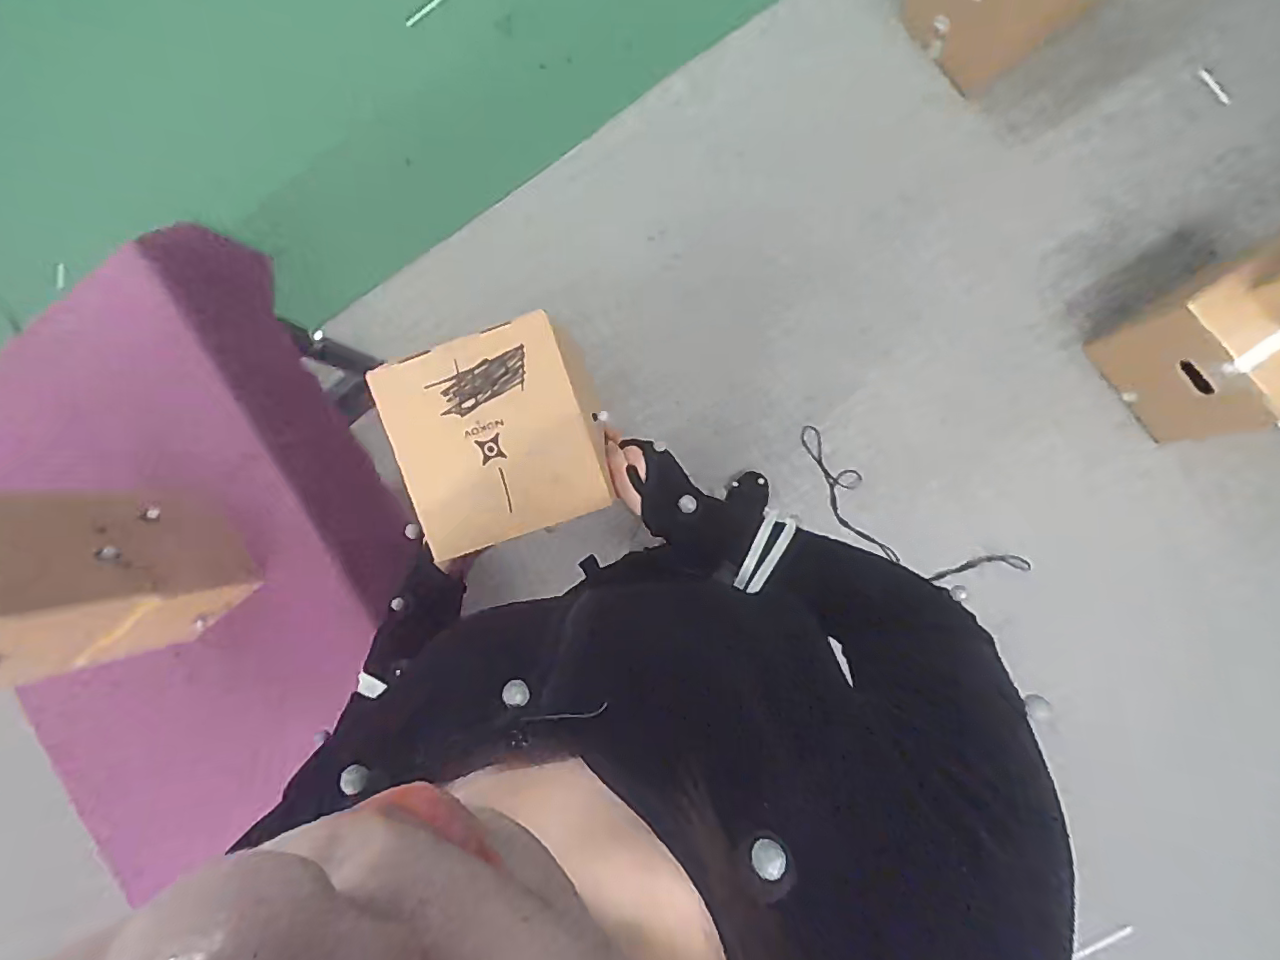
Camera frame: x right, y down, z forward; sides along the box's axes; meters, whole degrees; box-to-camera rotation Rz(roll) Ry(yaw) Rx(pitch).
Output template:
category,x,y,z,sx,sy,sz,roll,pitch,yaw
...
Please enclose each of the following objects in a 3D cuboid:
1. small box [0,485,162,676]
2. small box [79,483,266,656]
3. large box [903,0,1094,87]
category,x,y,z,sx,sy,sz,roll,pitch,yaw
small box,-0.736,0.121,0.636,0.179,0.176,0.168,-37,85,5
small box,-0.713,0.123,0.798,0.168,0.176,0.179,-36,84,6
large box,0.935,-1.280,1.293,0.408,0.320,0.320,-34,84,4
